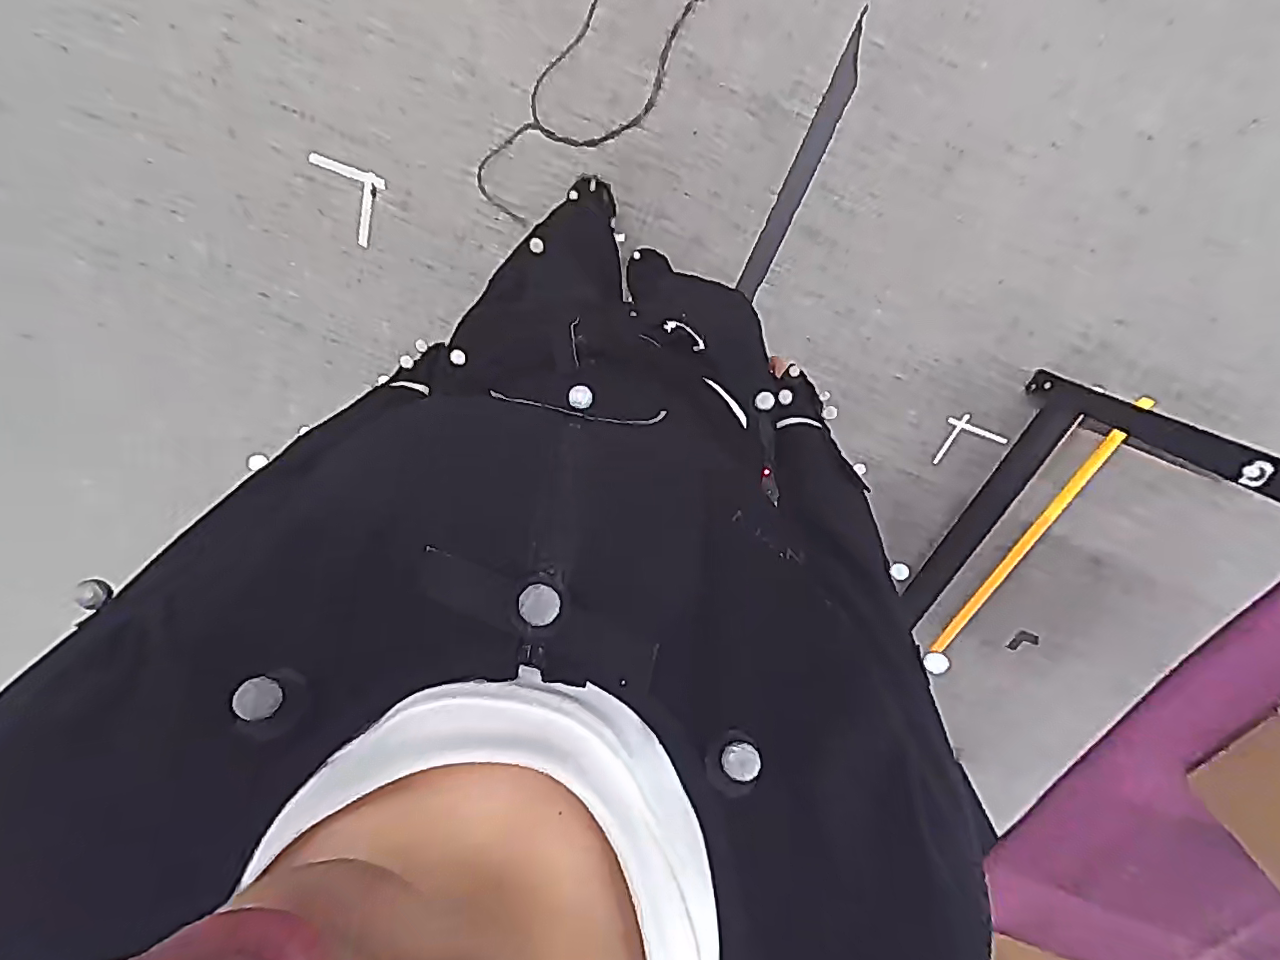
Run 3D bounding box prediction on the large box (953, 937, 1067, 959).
[{"bbox_3d":[0.681,0.987,0.816,0.408,0.320,0.320,21,115,-5],"label":"large box"}]
